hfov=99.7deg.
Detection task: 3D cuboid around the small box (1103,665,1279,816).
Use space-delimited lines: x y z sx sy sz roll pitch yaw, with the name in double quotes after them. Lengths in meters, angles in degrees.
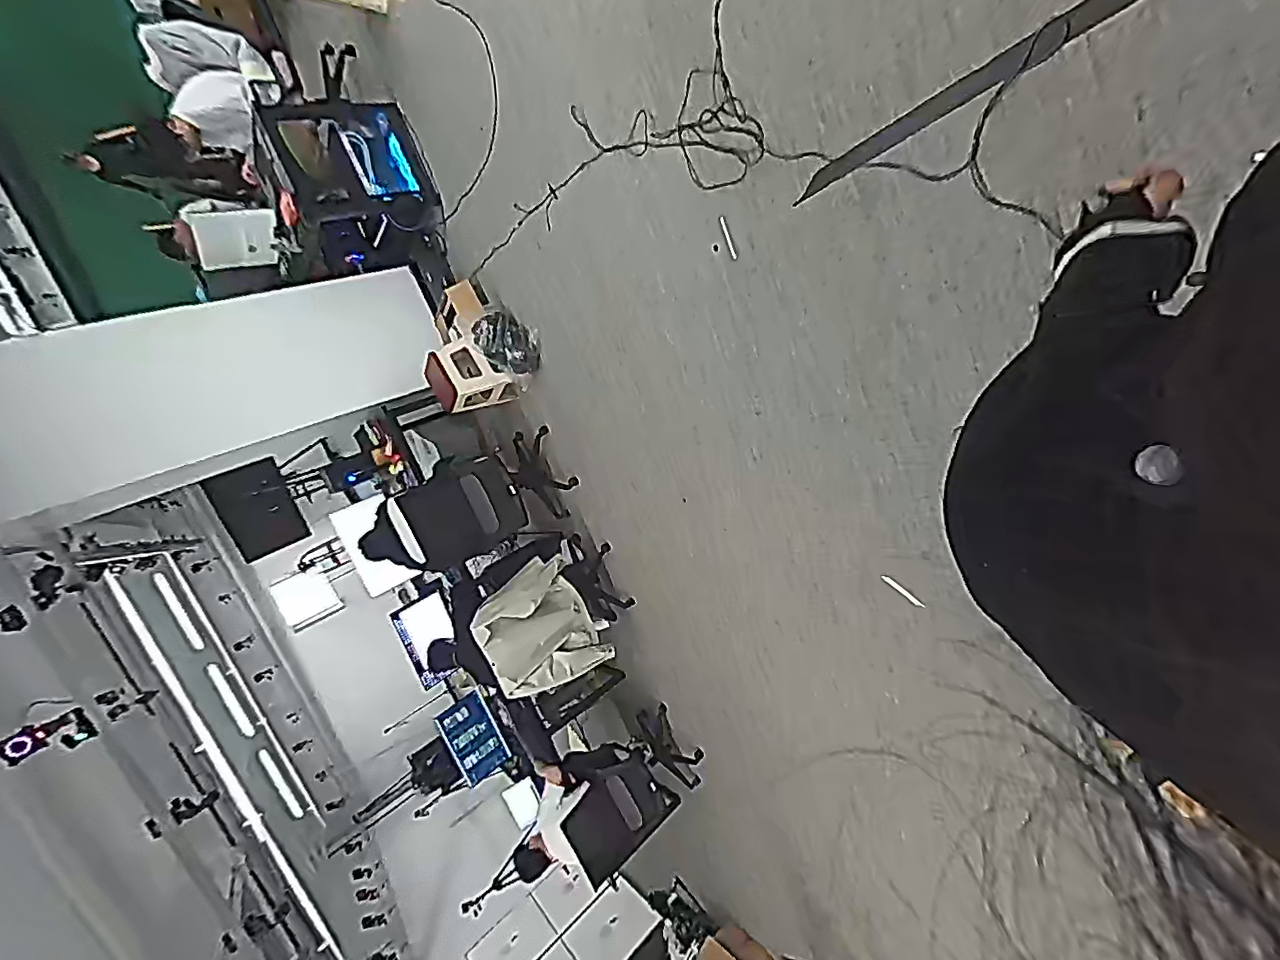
1.026 0.477 1.001 0.168 0.176 0.179 46 145 23 "small box"
